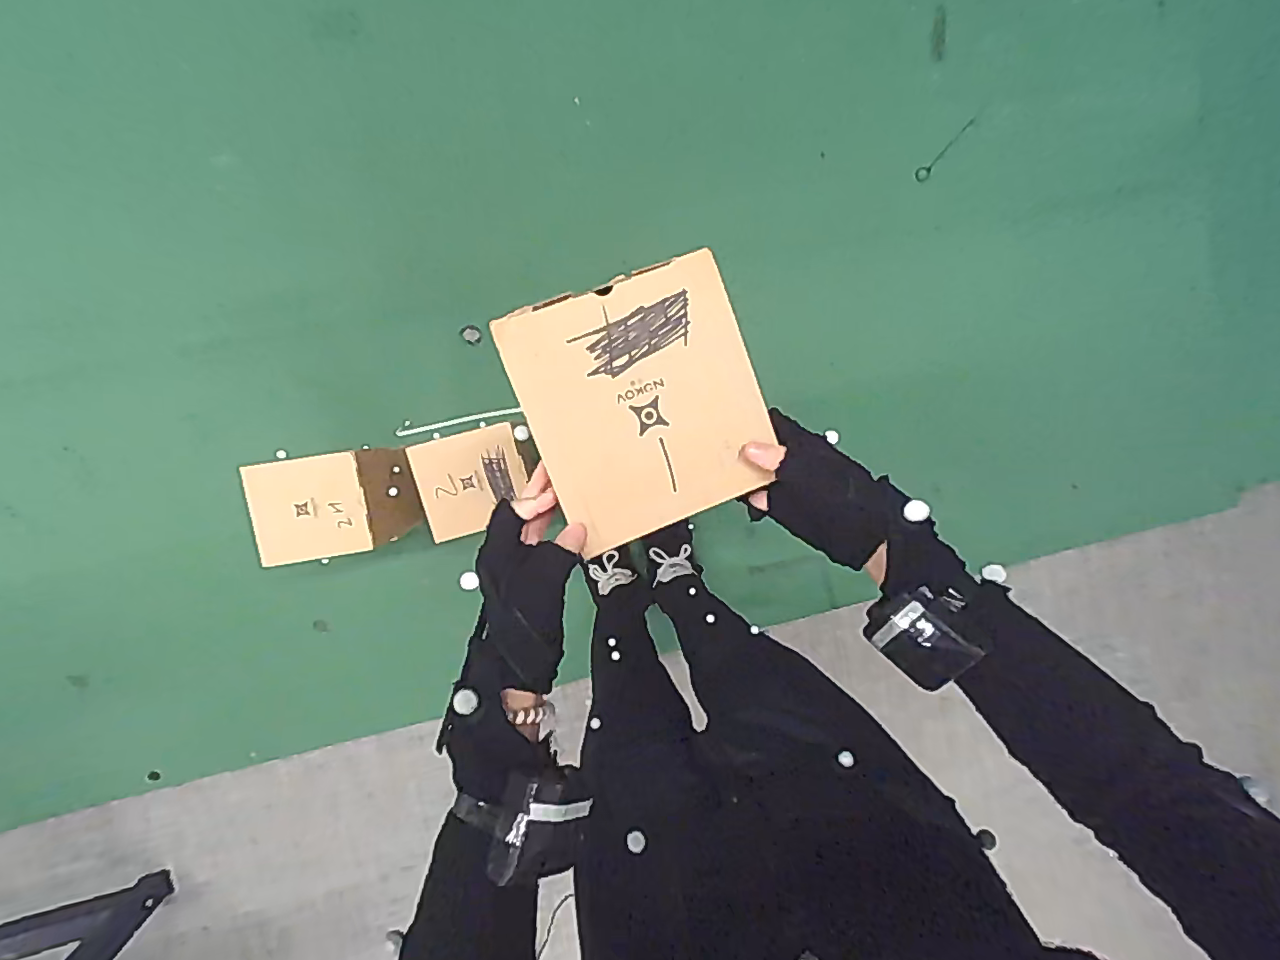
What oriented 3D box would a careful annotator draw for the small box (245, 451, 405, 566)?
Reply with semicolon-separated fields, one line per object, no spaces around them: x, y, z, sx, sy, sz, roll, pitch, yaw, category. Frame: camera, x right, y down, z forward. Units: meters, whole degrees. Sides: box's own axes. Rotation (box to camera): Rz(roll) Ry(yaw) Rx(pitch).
-0.537;0.042;0.945;0.179;0.176;0.168;-8;96;-6;small box

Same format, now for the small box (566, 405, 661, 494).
-0.062;-0.069;1.162;0.179;0.176;0.168;-8;96;-7;small box

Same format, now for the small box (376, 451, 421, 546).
-0.564;0.039;1.108;0.168;0.176;0.179;-7;96;-6;small box

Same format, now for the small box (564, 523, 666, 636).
-0.057;0.217;1.208;0.179;0.176;0.168;21;104;7;small box
